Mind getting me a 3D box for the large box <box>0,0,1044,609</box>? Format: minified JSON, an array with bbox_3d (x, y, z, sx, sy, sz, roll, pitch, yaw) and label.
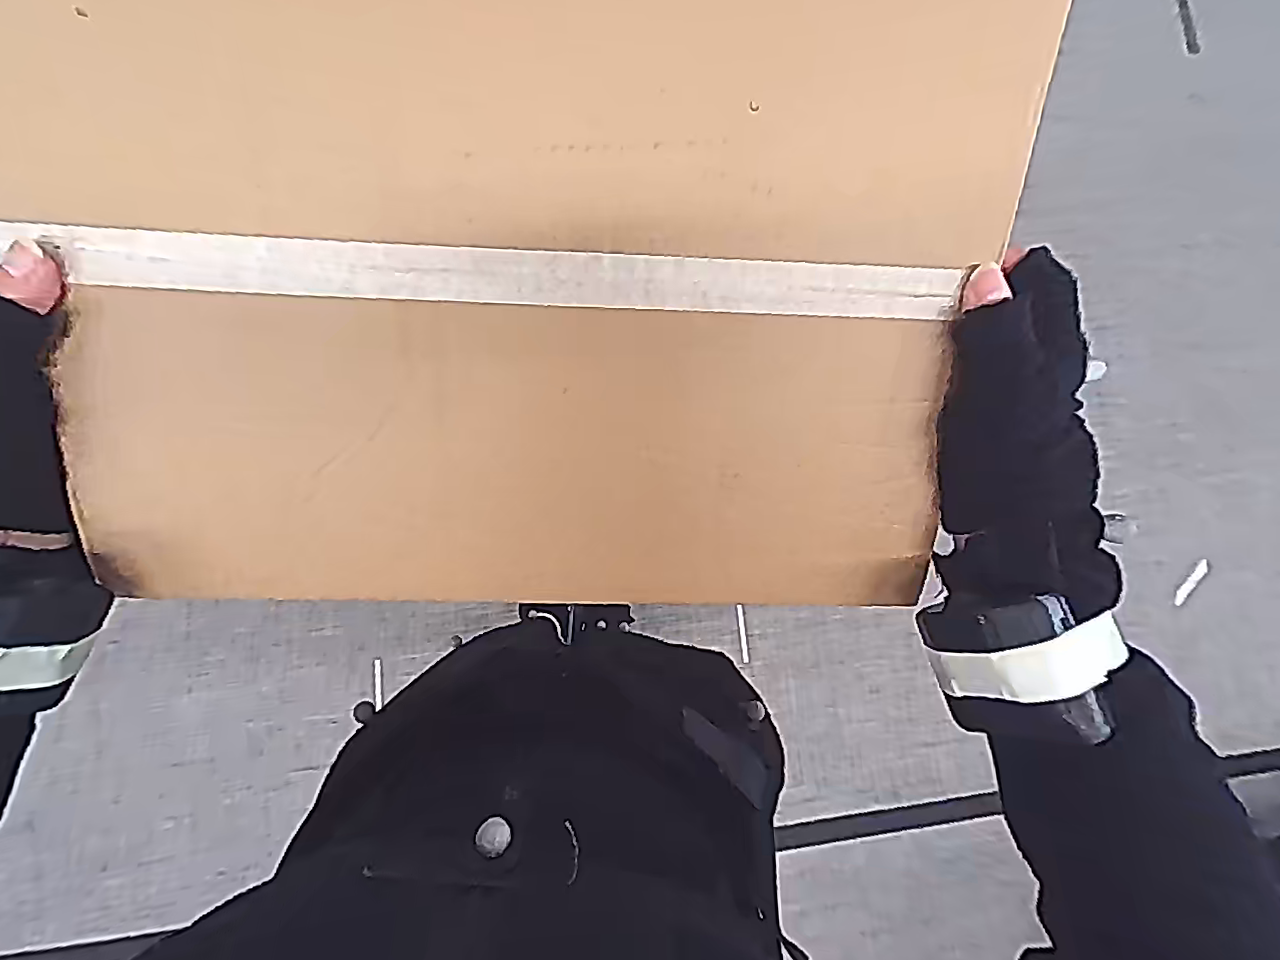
[{"bbox_3d":[-0.056,-0.128,0.374,0.408,0.320,0.320,1,110,-4],"label":"large box"}]
